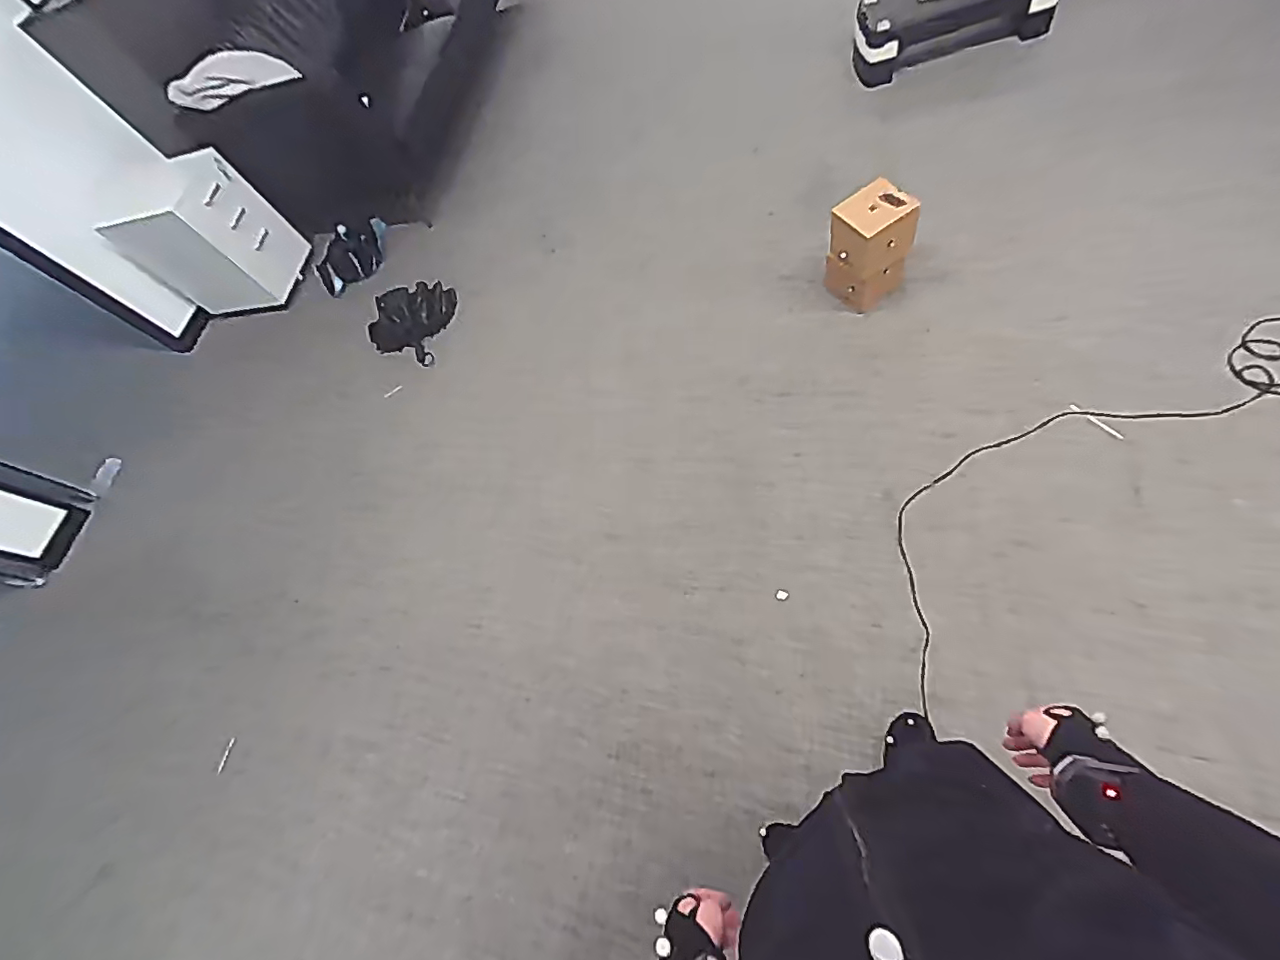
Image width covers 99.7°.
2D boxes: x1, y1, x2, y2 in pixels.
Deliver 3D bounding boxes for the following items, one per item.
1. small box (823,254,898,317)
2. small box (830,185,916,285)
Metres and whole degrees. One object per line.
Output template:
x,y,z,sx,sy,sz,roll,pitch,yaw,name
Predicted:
0.720,-0.671,1.763,0.179,0.176,0.168,-38,60,-4,small box
0.683,-0.726,1.612,0.179,0.176,0.168,-33,60,2,small box
